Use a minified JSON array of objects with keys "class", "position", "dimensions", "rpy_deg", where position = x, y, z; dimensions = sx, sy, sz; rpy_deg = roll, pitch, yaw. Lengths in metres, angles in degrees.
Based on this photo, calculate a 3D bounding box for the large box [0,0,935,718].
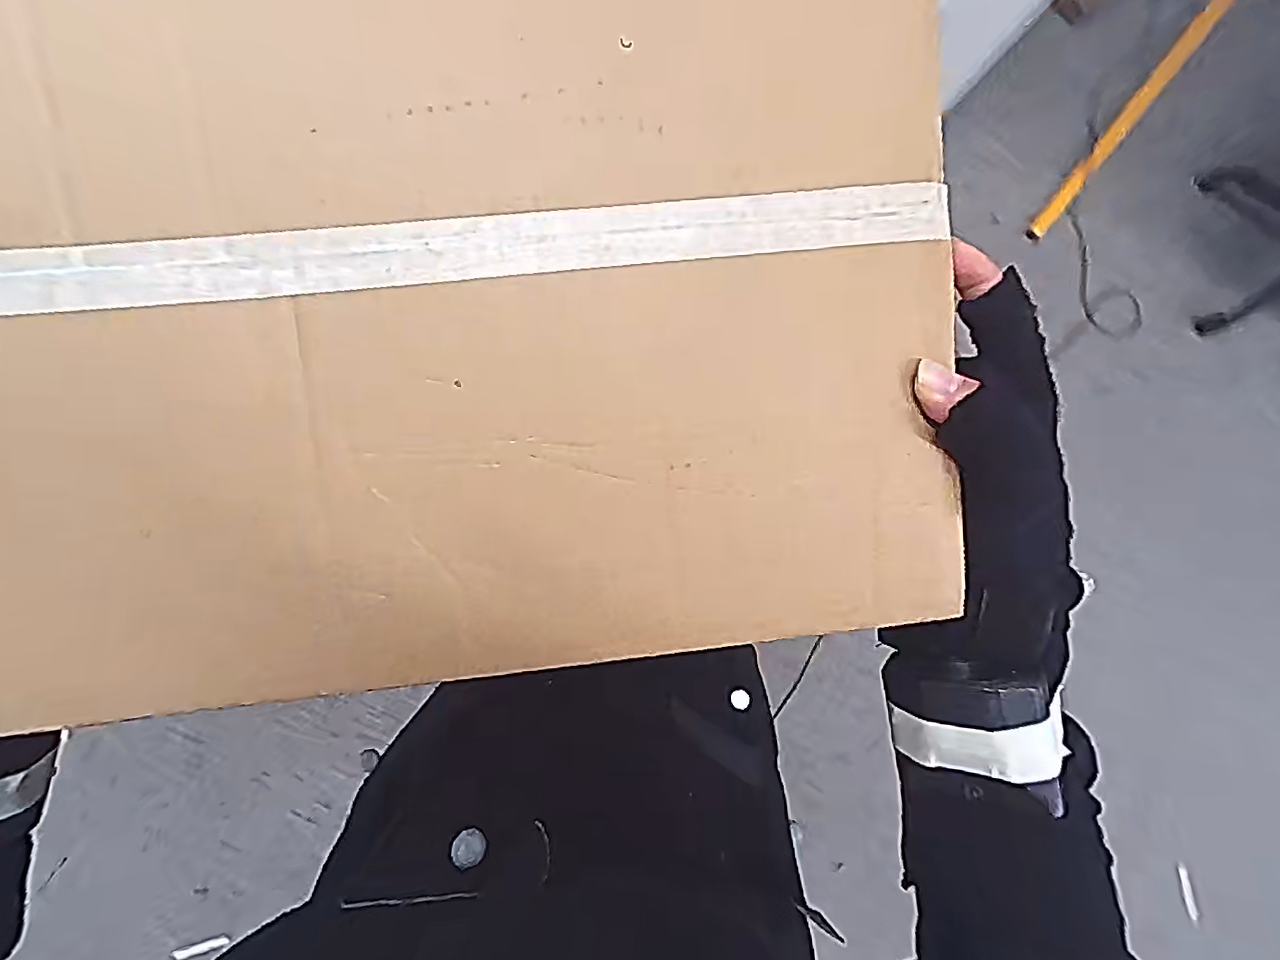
[{"class":"large box","position":[-0.091,-0.090,0.353],"dimensions":[0.408,0.320,0.320],"rpy_deg":[-5,95,-4]}]
